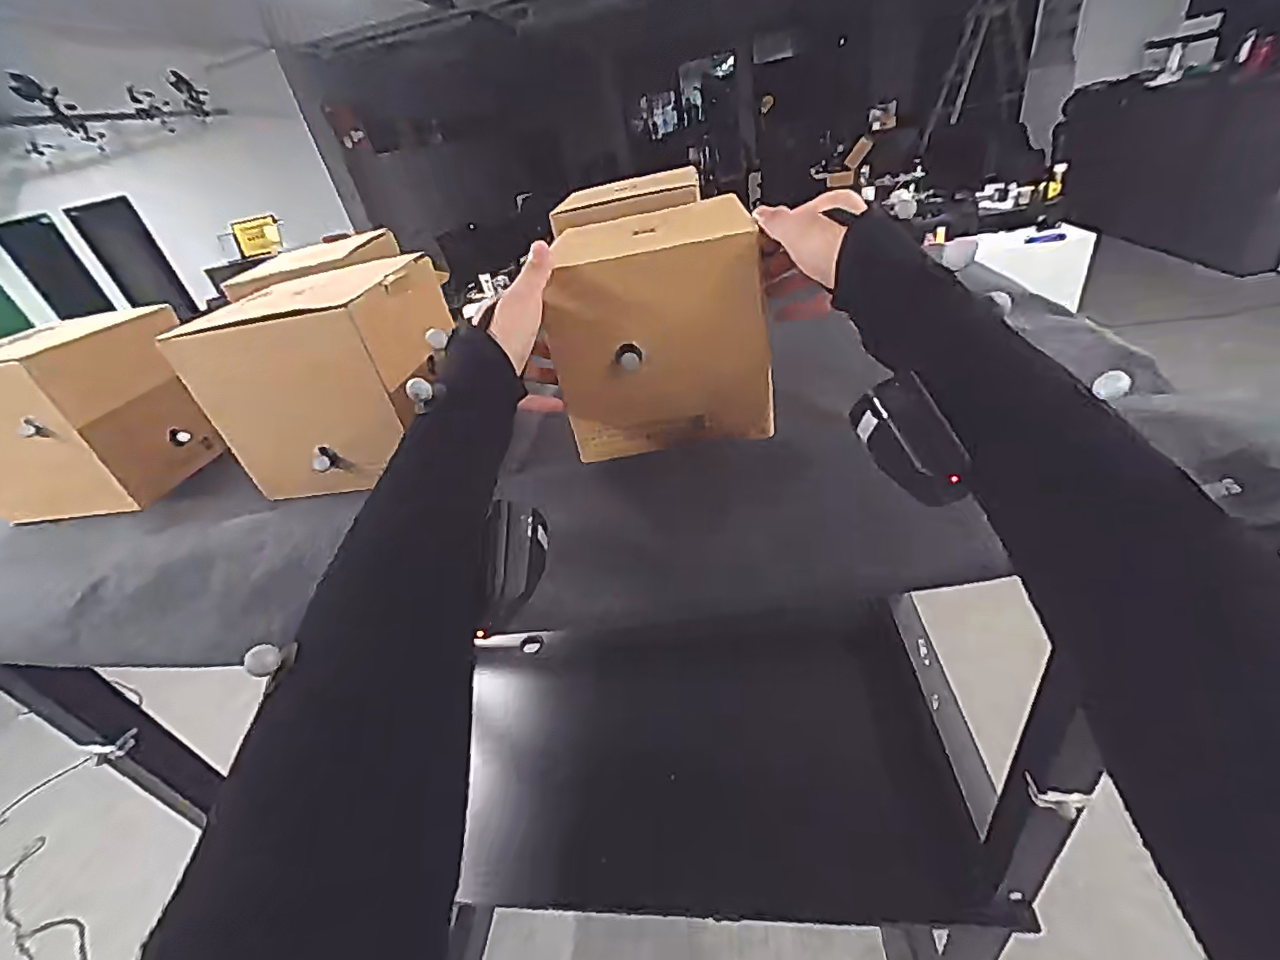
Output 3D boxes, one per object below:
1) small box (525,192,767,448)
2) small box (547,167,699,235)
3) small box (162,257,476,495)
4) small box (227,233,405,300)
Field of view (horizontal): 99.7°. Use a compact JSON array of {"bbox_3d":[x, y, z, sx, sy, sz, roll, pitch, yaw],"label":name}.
[{"bbox_3d":[0.017,-0.139,0.486,0.168,0.176,0.179,-7,33,9],"label":"small box"},{"bbox_3d":[-0.002,-0.300,0.725,0.179,0.176,0.168,-6,35,10],"label":"small box"},{"bbox_3d":[-0.286,-0.102,0.535,0.179,0.176,0.168,-6,34,9],"label":"small box"},{"bbox_3d":[-0.427,-0.240,0.784,0.168,0.176,0.179,-11,34,5],"label":"small box"}]
